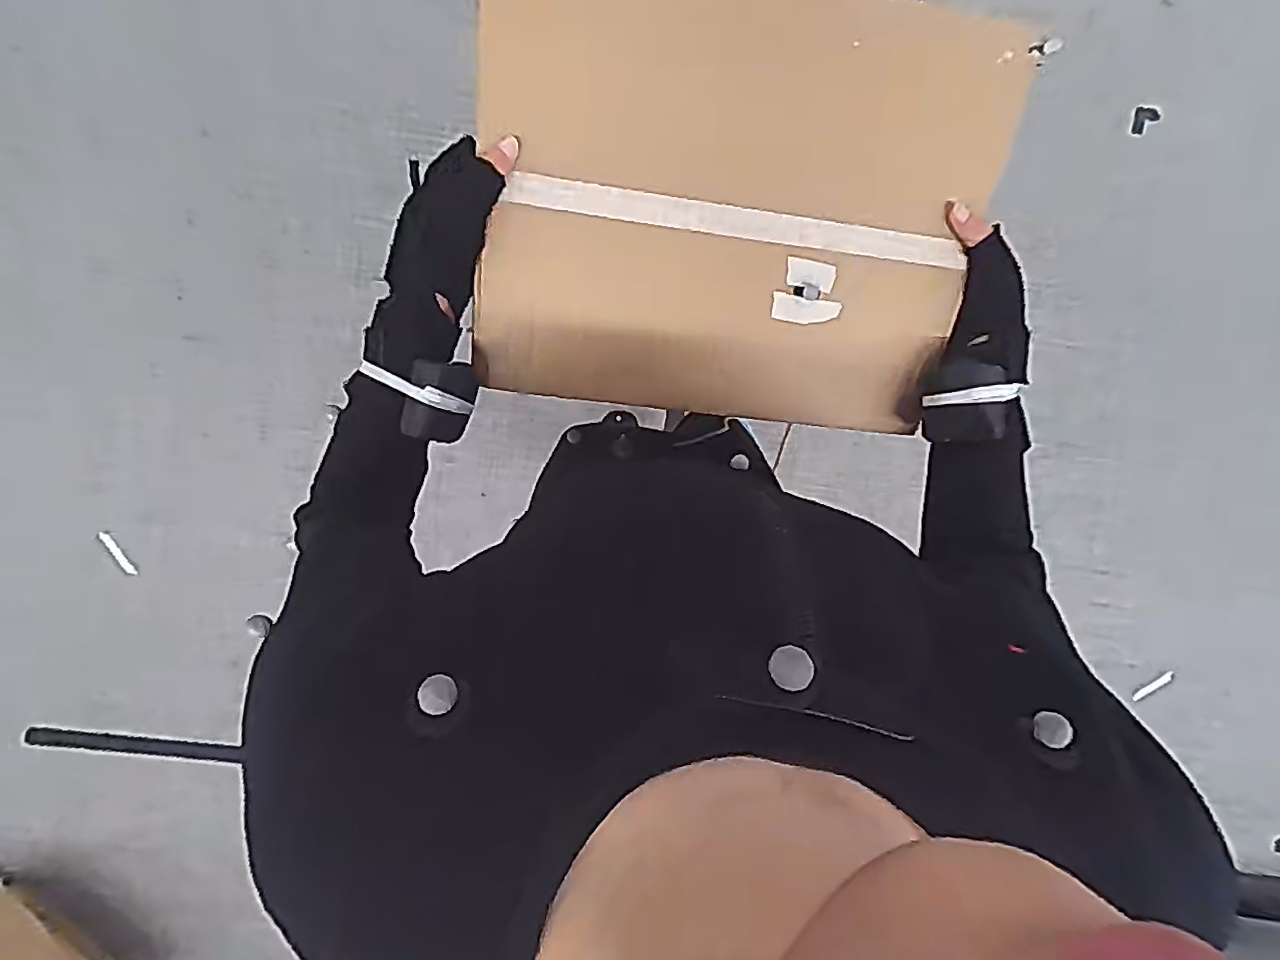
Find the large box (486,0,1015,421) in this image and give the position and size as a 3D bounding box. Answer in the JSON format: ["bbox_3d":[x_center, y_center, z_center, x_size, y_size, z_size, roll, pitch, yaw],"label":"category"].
[{"bbox_3d":[0.062,-0.268,0.582,0.408,0.320,0.320,5,112,-8],"label":"large box"}]
